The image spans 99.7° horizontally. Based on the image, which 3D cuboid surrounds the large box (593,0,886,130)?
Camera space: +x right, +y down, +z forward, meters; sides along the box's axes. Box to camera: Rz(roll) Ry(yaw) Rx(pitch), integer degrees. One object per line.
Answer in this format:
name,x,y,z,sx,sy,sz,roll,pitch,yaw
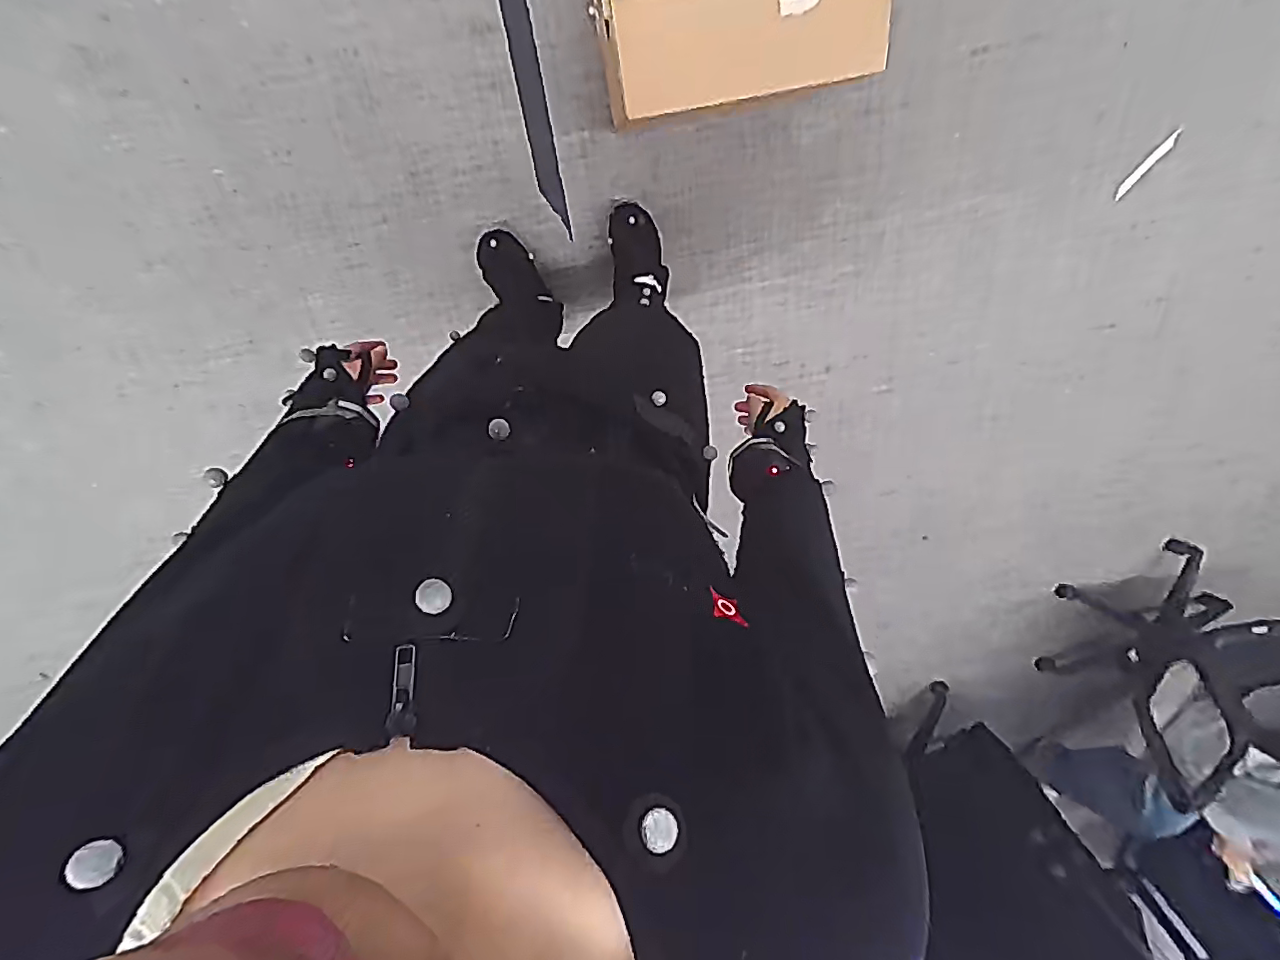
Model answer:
large box,0.134,-0.794,0.874,0.408,0.320,0.320,-12,121,-1
